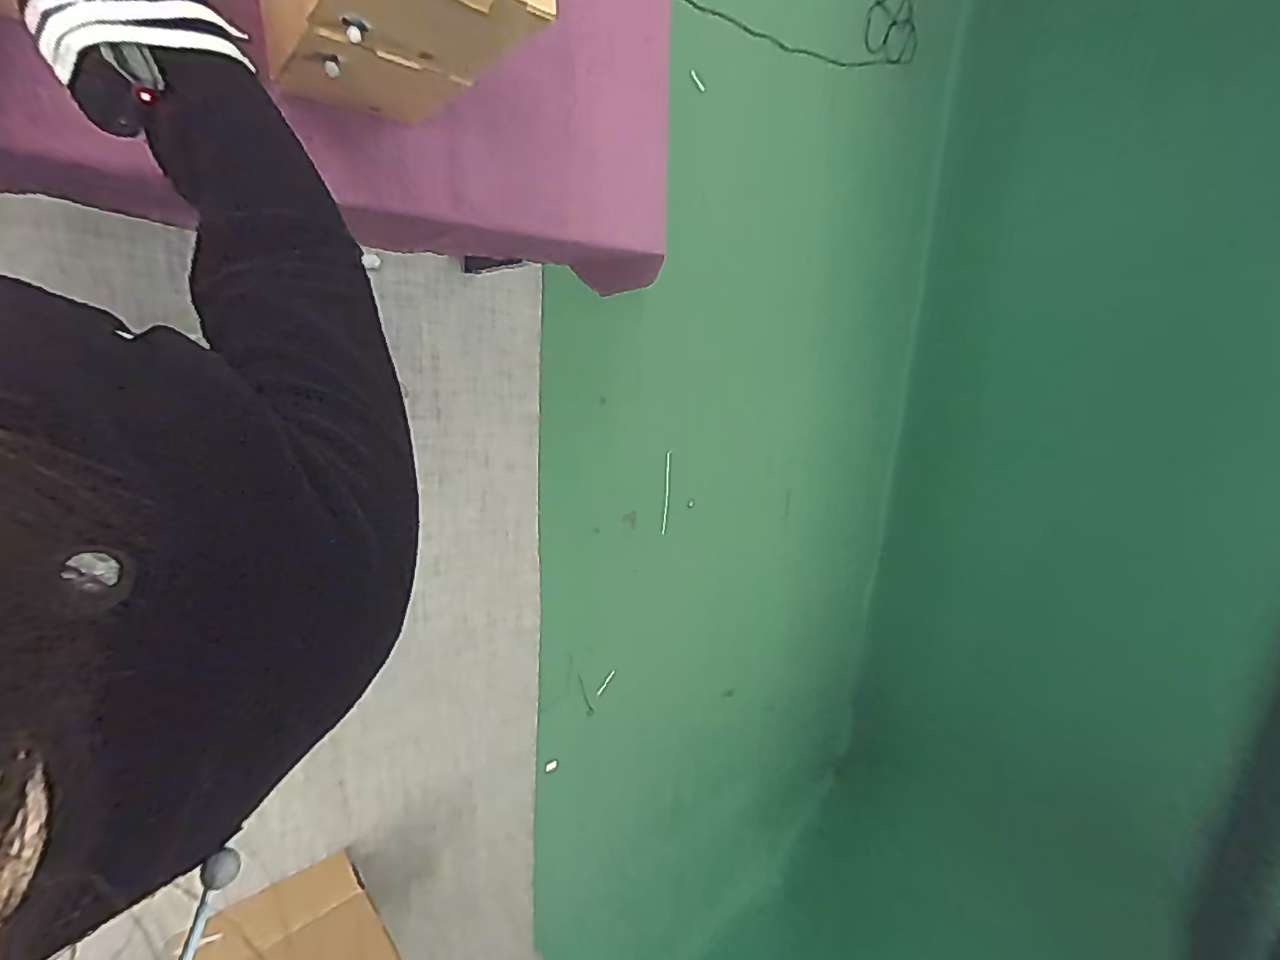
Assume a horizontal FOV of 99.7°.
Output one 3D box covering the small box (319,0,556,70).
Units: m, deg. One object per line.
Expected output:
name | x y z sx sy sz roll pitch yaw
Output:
small box | -0.191 -0.505 0.473 0.168 0.176 0.179 -14 109 -42
